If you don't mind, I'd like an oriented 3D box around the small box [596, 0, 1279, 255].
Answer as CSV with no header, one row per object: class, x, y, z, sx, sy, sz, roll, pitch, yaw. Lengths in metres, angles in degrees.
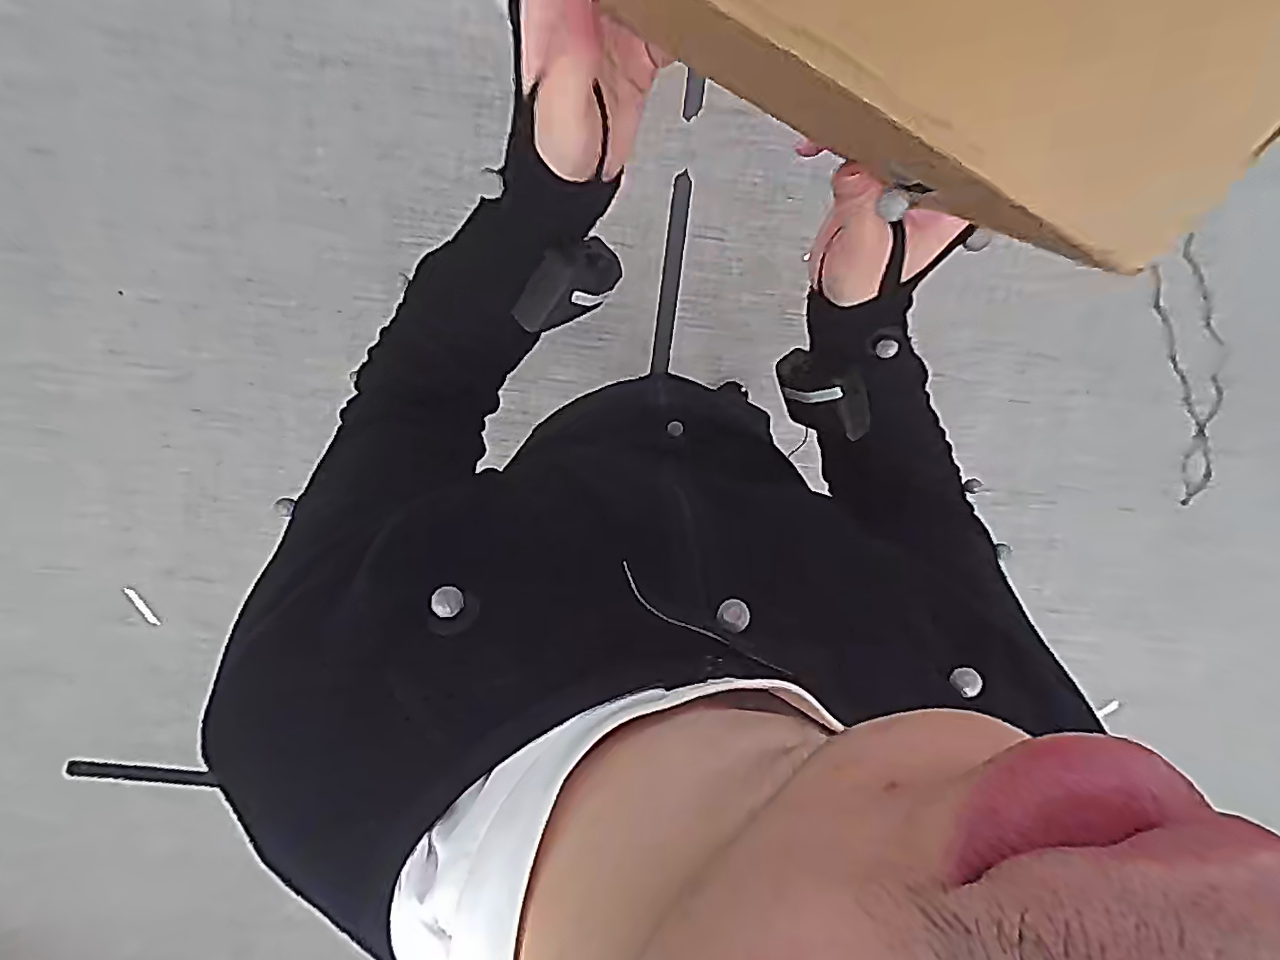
small box,0.096,-0.199,0.165,0.179,0.176,0.168,20,122,-11
